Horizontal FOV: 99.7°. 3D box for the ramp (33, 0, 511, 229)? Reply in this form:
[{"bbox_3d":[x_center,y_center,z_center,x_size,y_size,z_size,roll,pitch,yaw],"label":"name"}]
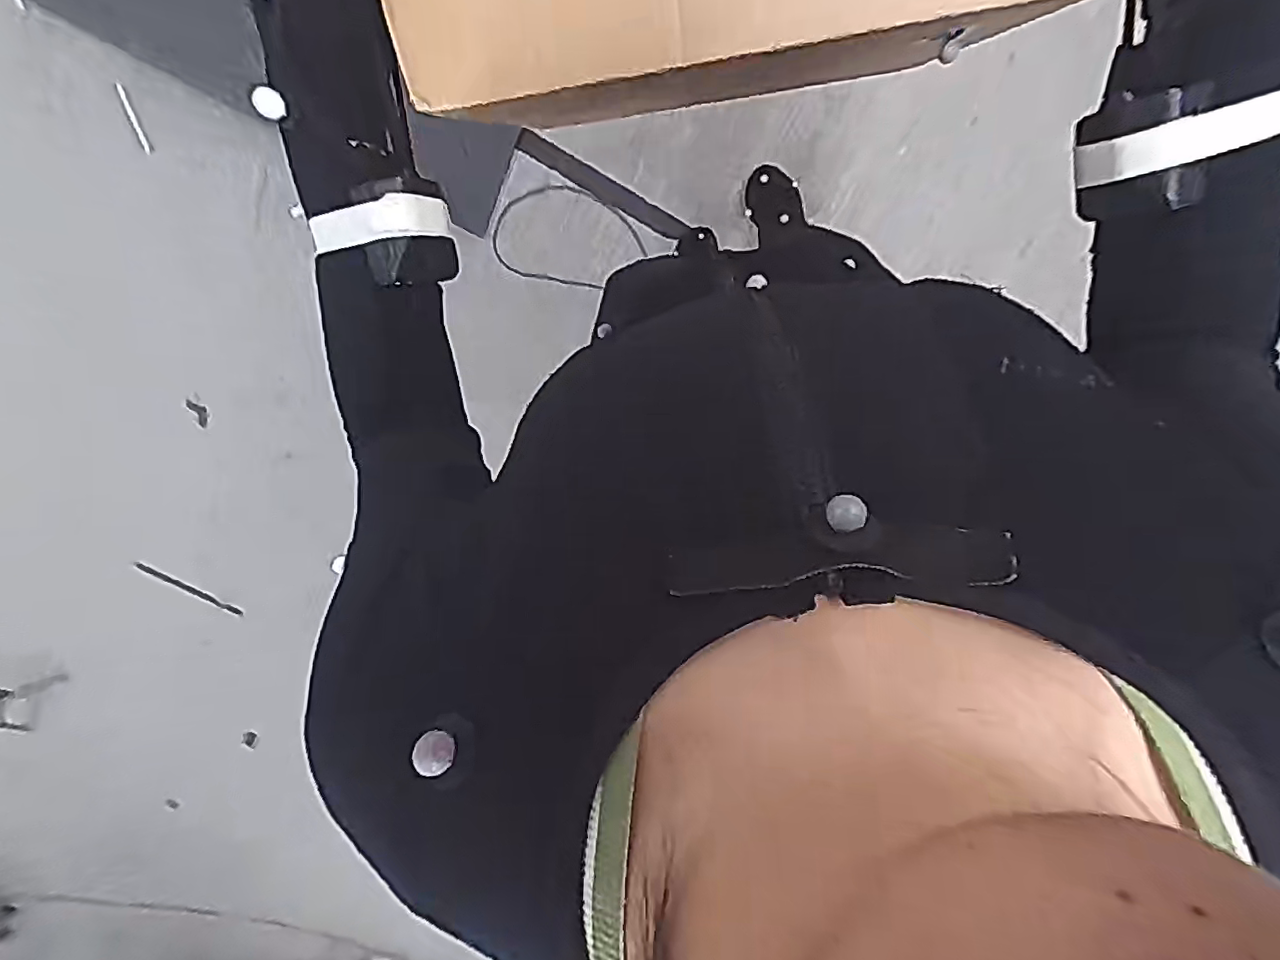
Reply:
[{"bbox_3d":[-0.734,-0.990,1.086,0.991,0.206,0.509,26,114,-8],"label":"ramp"}]

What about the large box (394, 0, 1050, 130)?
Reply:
[{"bbox_3d":[0.047,-0.456,0.368,0.408,0.320,0.320,-5,120,8],"label":"large box"}]
